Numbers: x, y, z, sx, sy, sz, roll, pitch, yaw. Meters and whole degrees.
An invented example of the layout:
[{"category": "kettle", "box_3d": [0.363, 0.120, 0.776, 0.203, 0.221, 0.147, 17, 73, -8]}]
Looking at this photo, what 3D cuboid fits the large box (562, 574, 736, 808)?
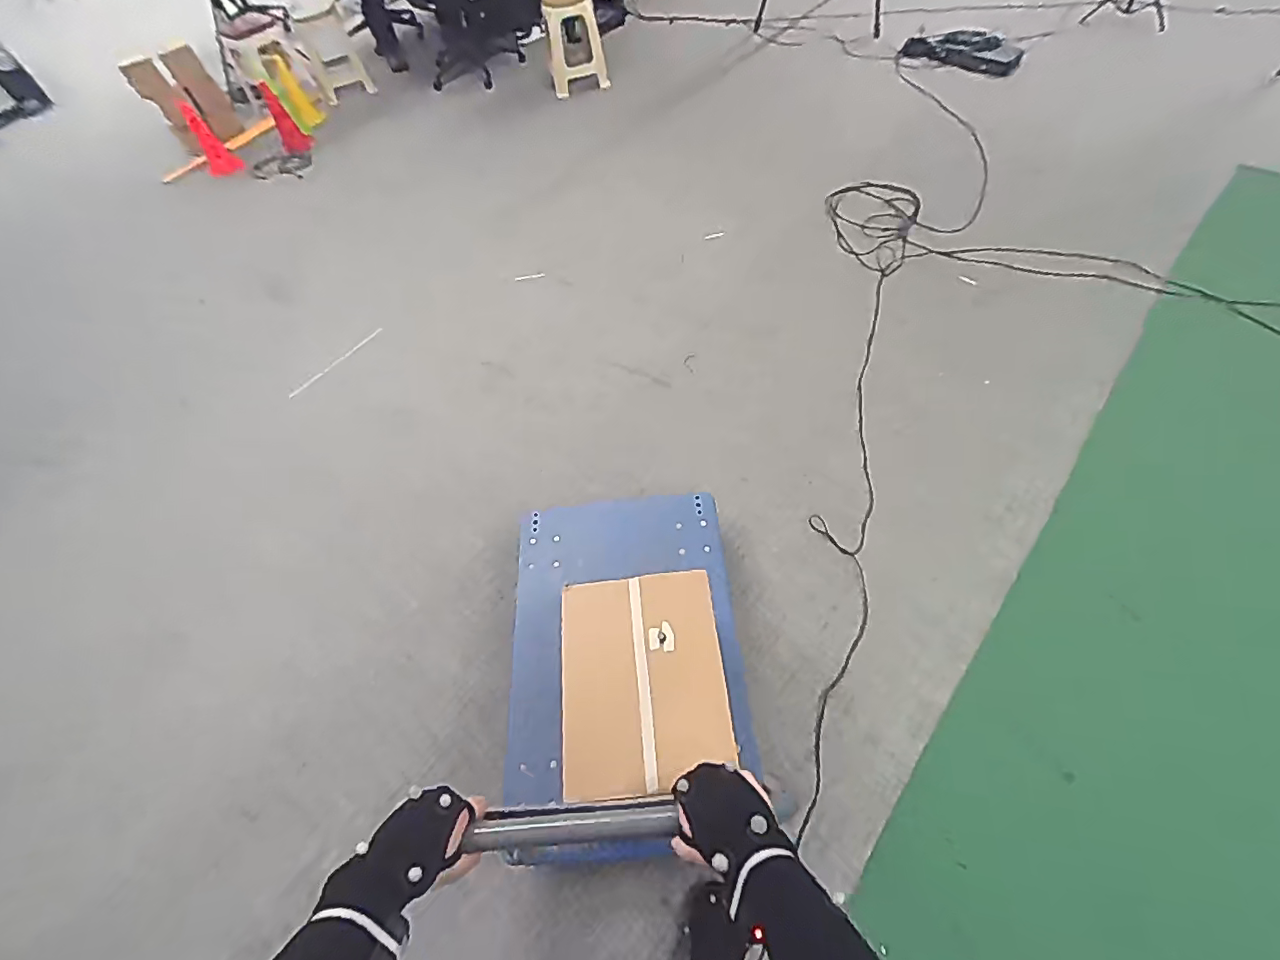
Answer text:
[{"category": "large box", "box_3d": [0.015, 0.468, 1.187, 0.320, 0.320, 0.408, -6, 56, 1]}]
